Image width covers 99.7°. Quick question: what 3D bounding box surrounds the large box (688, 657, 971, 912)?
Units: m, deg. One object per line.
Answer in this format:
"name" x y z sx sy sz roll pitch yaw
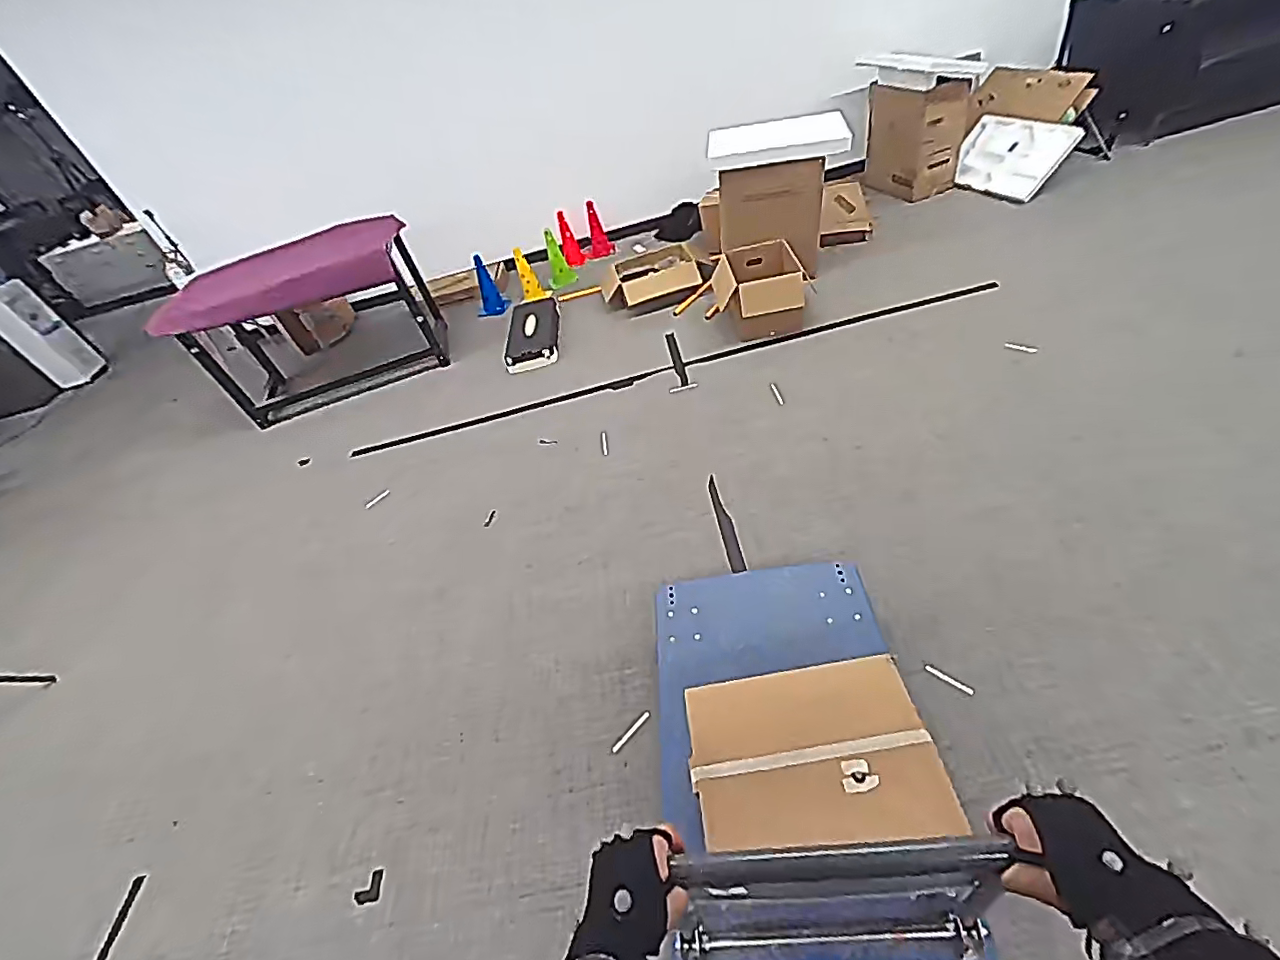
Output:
"large box" 0.327 0.590 1.044 0.408 0.320 0.320 -11 44 4
